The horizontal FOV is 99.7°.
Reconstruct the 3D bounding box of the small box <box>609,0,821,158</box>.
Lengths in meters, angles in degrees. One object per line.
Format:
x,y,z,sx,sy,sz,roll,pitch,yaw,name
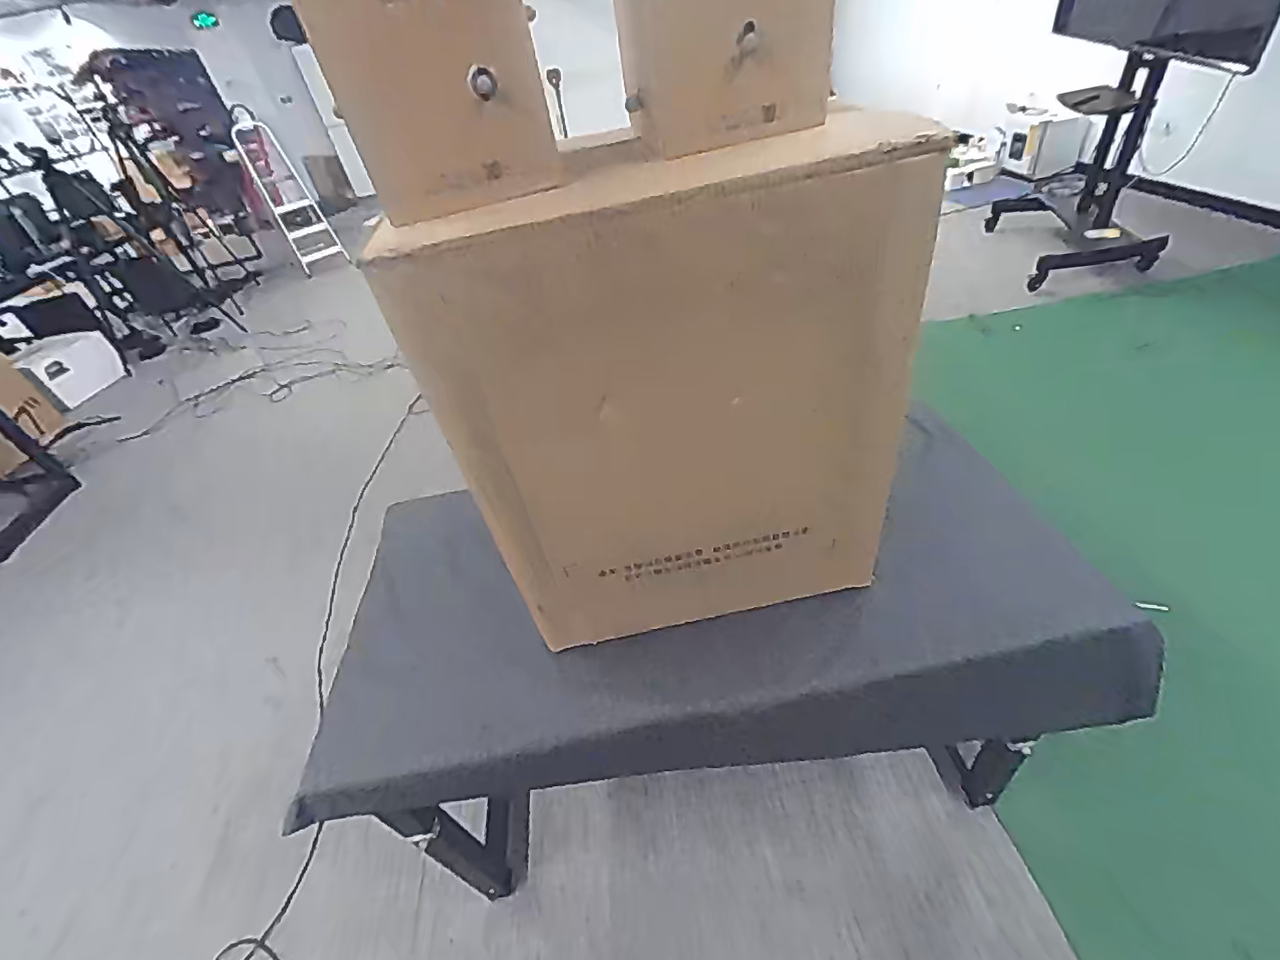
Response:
0.070,-0.439,0.534,0.168,0.176,0.179,-15,44,-2,small box

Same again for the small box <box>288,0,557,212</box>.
-0.188,-0.372,0.506,0.168,0.176,0.179,-19,44,-6,small box
